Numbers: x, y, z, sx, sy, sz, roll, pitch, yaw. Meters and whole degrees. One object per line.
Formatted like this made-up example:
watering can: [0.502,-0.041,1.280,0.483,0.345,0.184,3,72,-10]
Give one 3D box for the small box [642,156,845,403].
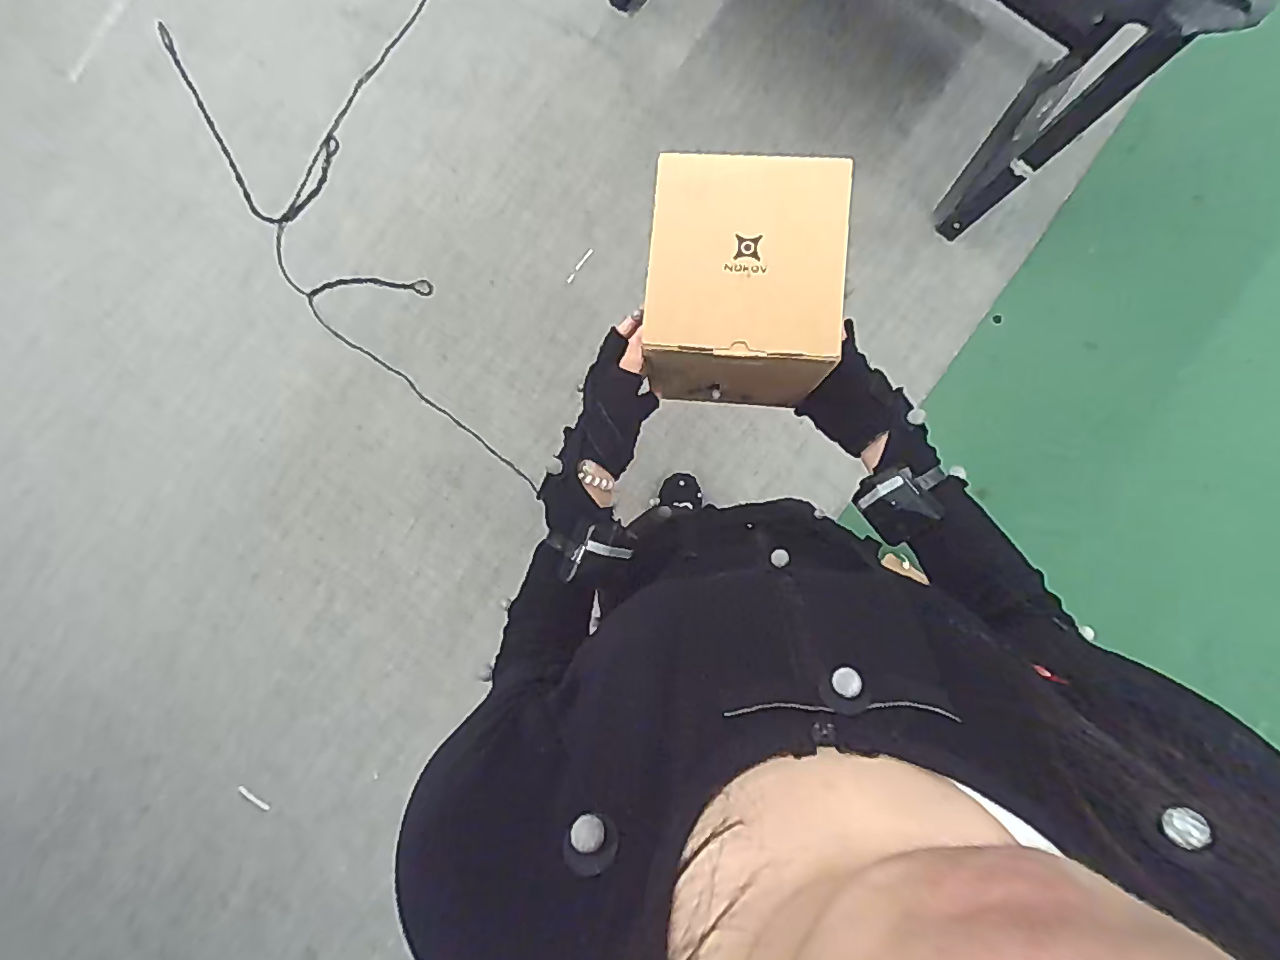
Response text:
small box: [0.095,-0.188,0.547,0.168,0.176,0.179,5,86,5]
